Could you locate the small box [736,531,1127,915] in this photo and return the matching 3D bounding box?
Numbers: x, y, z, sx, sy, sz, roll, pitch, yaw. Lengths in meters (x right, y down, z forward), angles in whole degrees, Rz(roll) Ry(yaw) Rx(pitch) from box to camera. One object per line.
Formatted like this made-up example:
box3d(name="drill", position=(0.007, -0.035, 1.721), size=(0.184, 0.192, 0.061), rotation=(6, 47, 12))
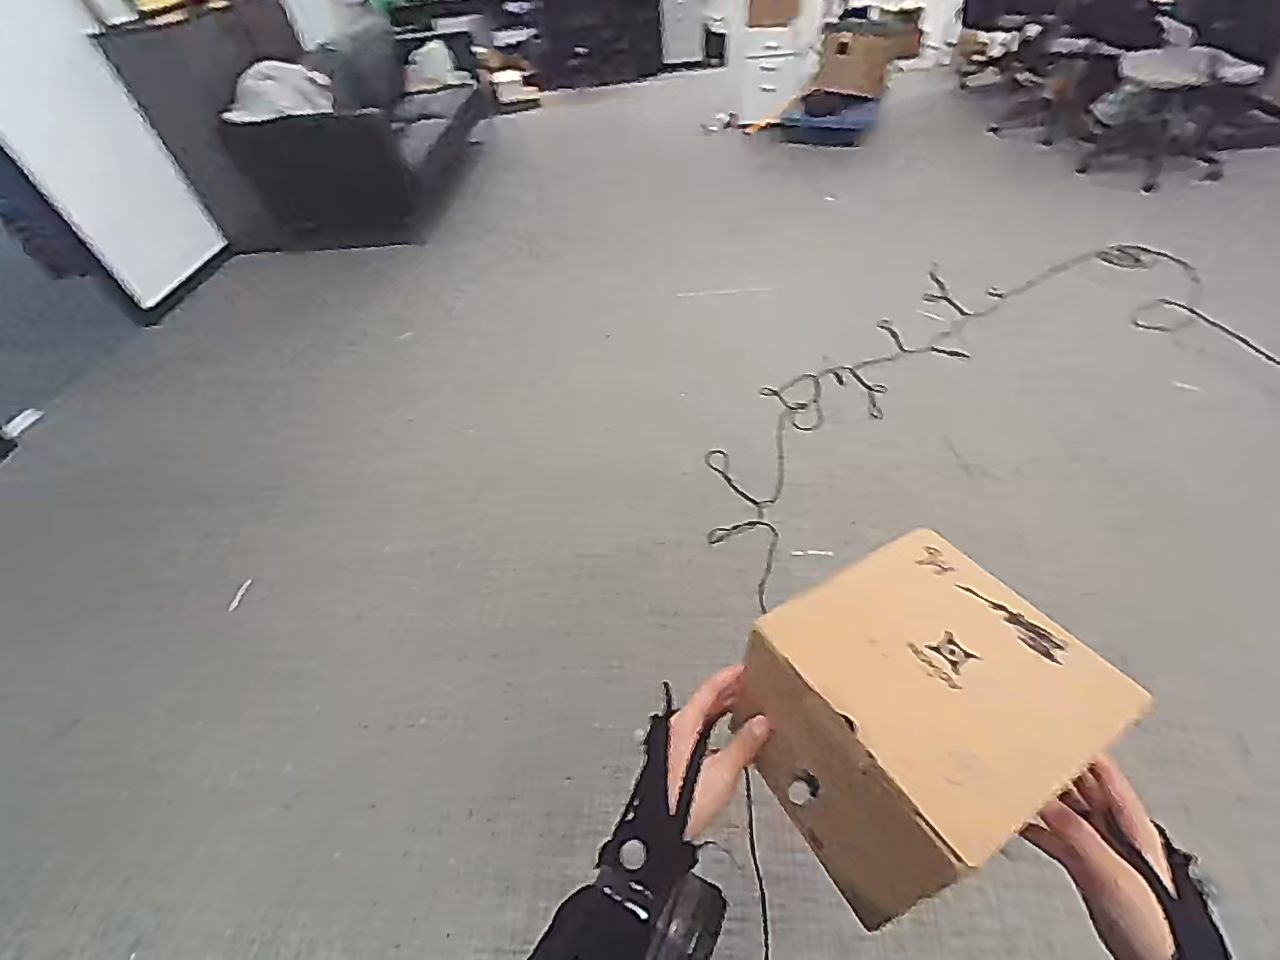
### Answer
box3d(name="small box", position=(0.185, 0.176, 0.402), size=(0.179, 0.176, 0.168), rotation=(-23, 47, -21))
